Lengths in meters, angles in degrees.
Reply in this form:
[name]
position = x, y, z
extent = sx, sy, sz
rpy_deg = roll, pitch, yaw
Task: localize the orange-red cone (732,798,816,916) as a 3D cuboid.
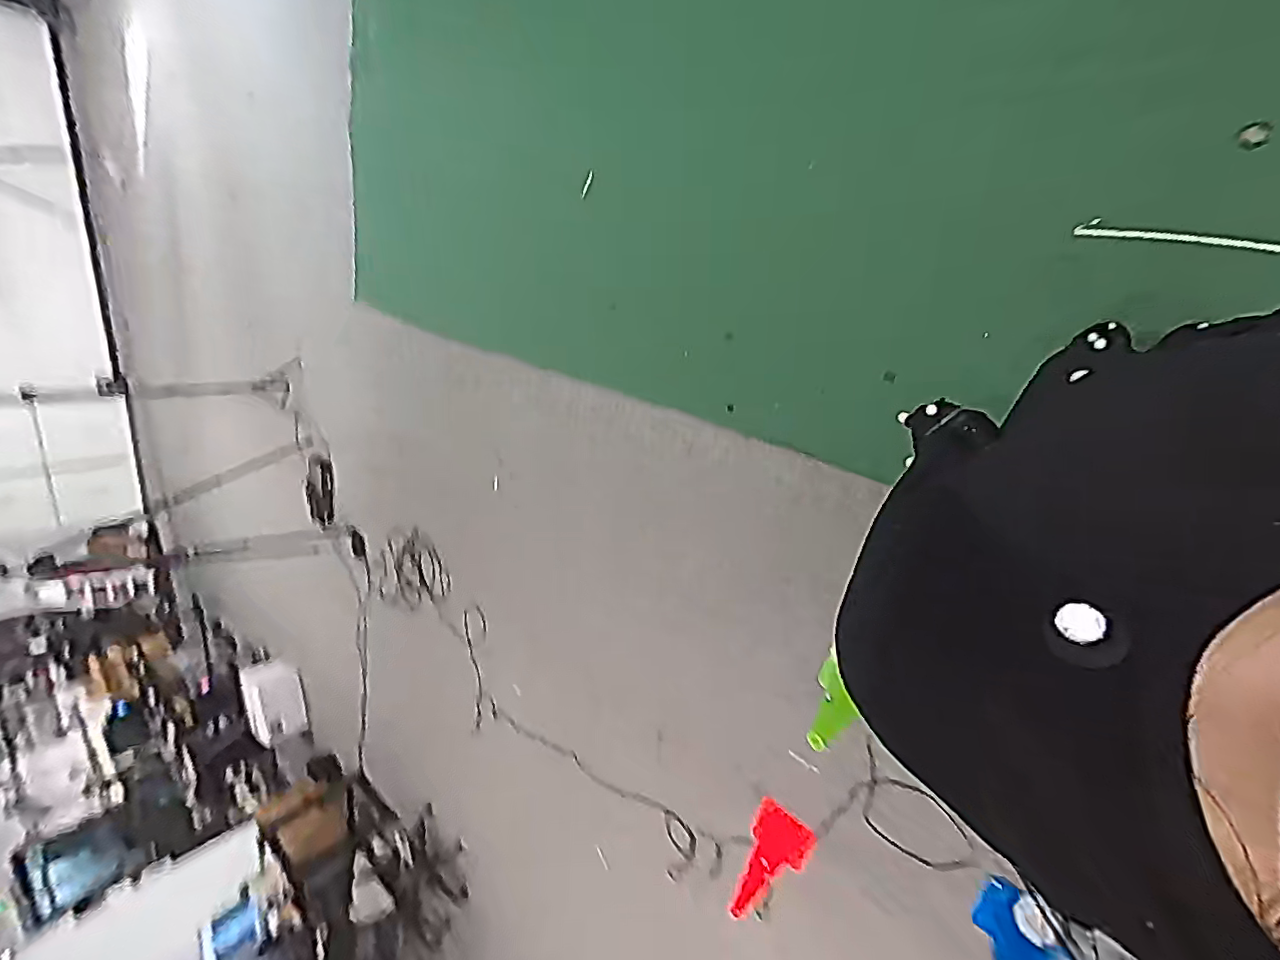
[orange-red cone]
position = 0.399, 1.268, 1.768
extent = 0.198, 0.360, 0.199
rpy_deg = 29, 116, 30
